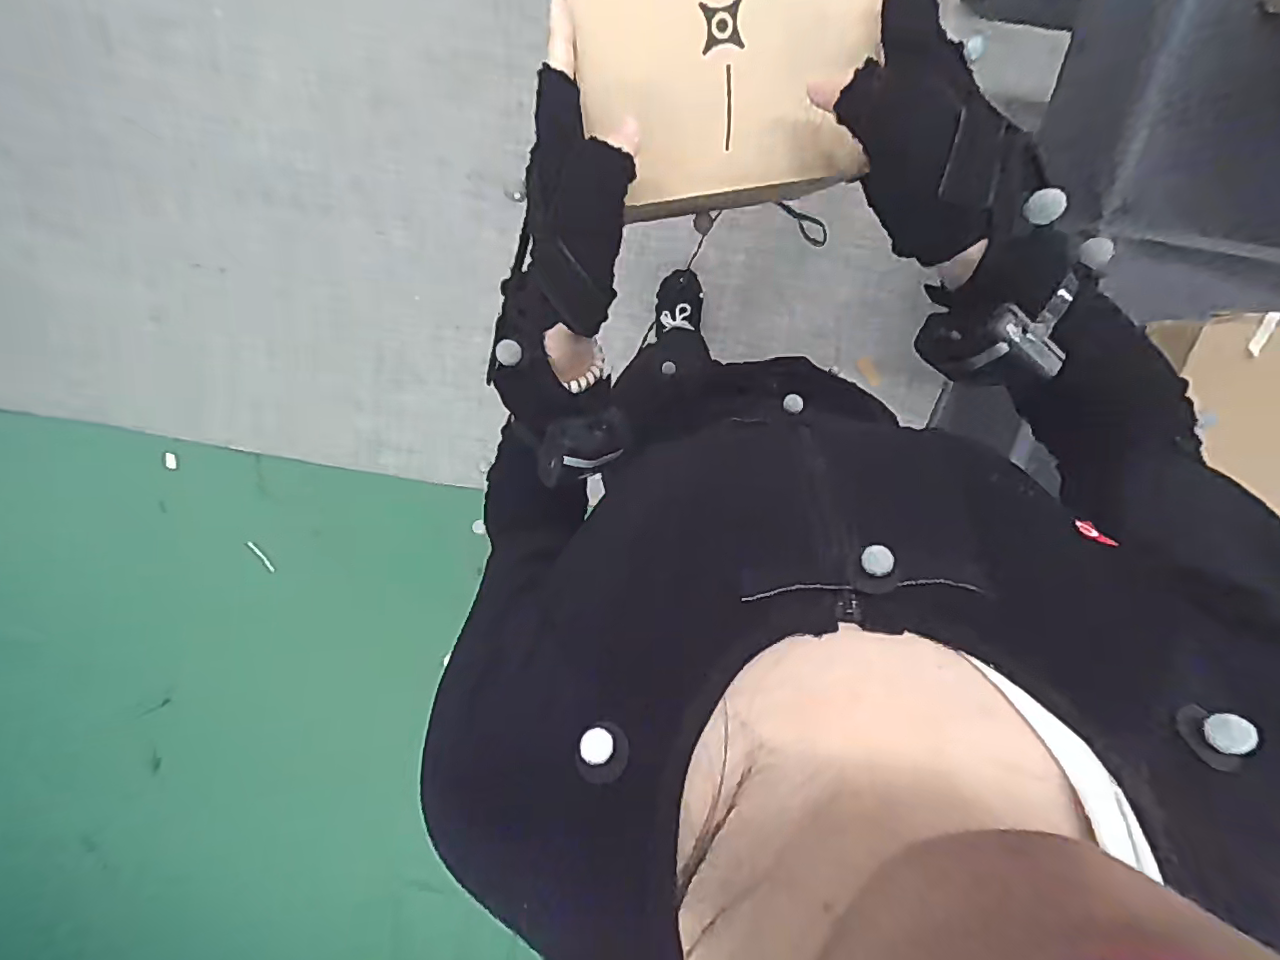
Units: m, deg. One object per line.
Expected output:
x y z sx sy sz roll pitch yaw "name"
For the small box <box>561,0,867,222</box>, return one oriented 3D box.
0.037 -0.282 0.362 0.168 0.176 0.179 -7 112 2 "small box"
